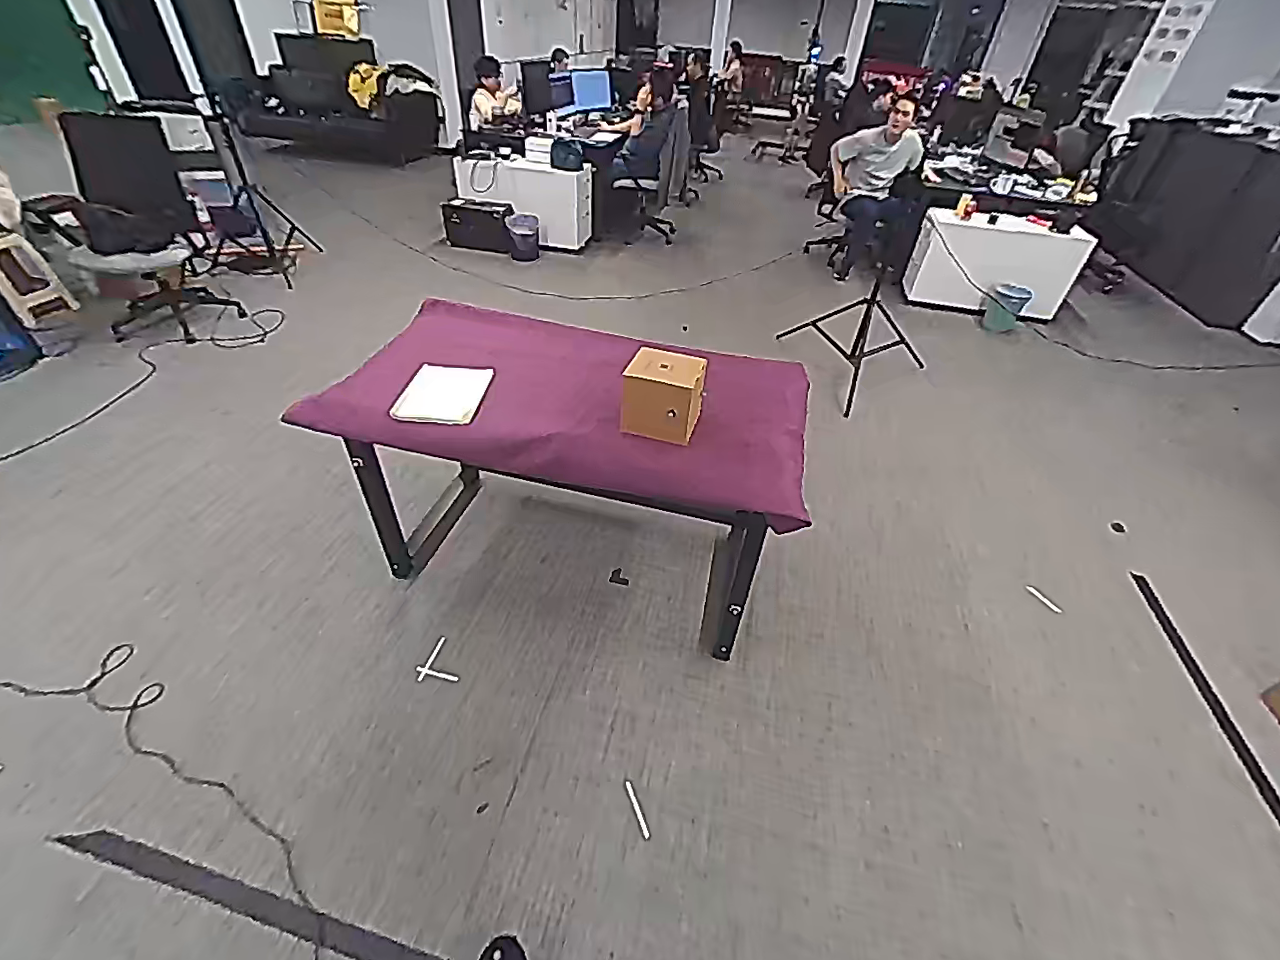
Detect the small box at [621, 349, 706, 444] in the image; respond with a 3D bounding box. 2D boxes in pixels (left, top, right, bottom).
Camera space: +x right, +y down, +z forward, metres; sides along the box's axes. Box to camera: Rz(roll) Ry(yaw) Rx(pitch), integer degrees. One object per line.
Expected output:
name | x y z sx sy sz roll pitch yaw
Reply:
small box | 0.059 -0.209 1.372 0.179 0.176 0.168 12 39 12
